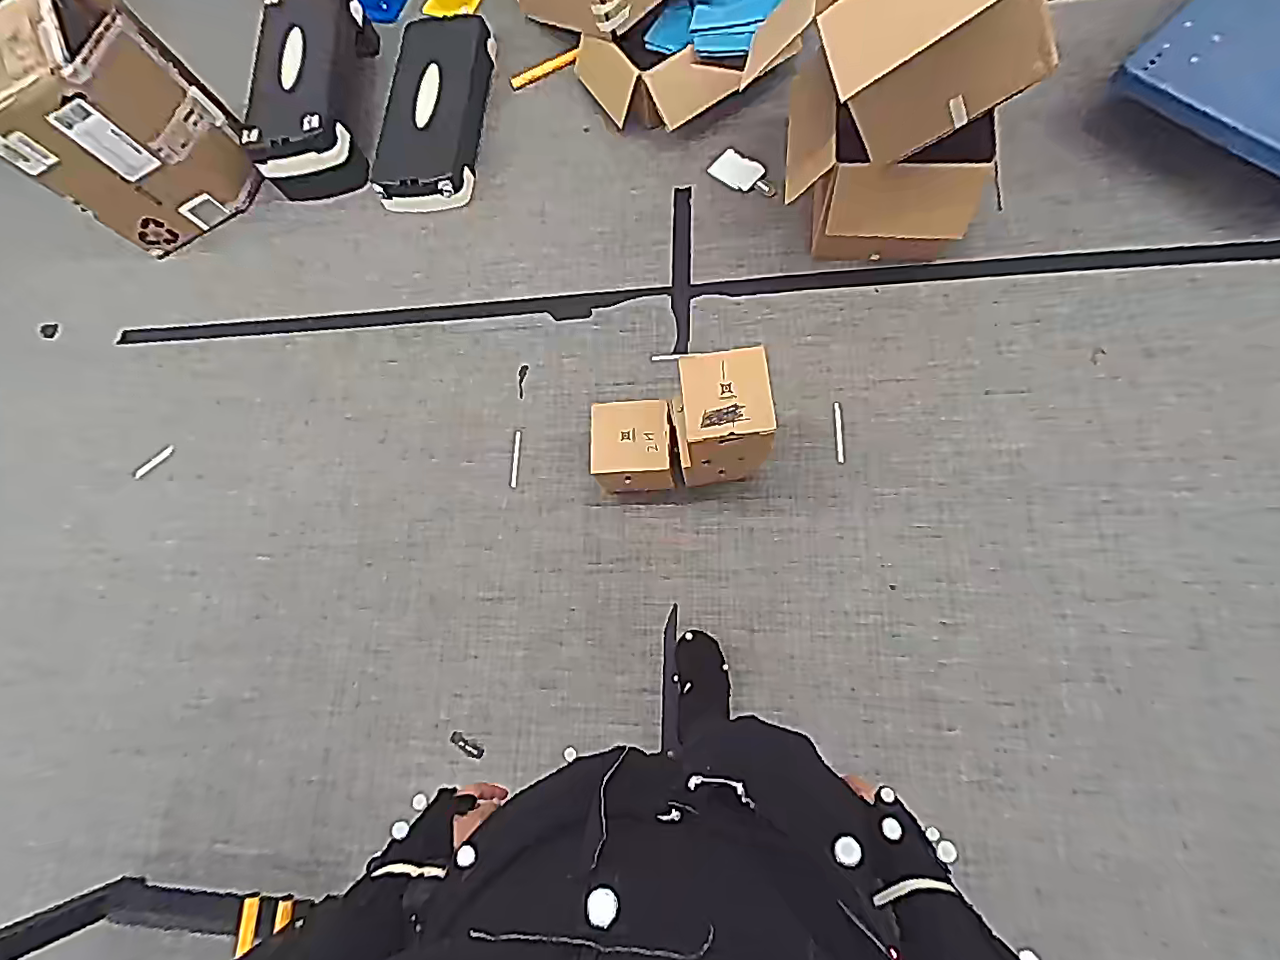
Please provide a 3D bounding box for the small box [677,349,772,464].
[{"bbox_3d":[0.168,-0.137,1.086,0.168,0.176,0.179,-6,73,6],"label":"small box"}]
